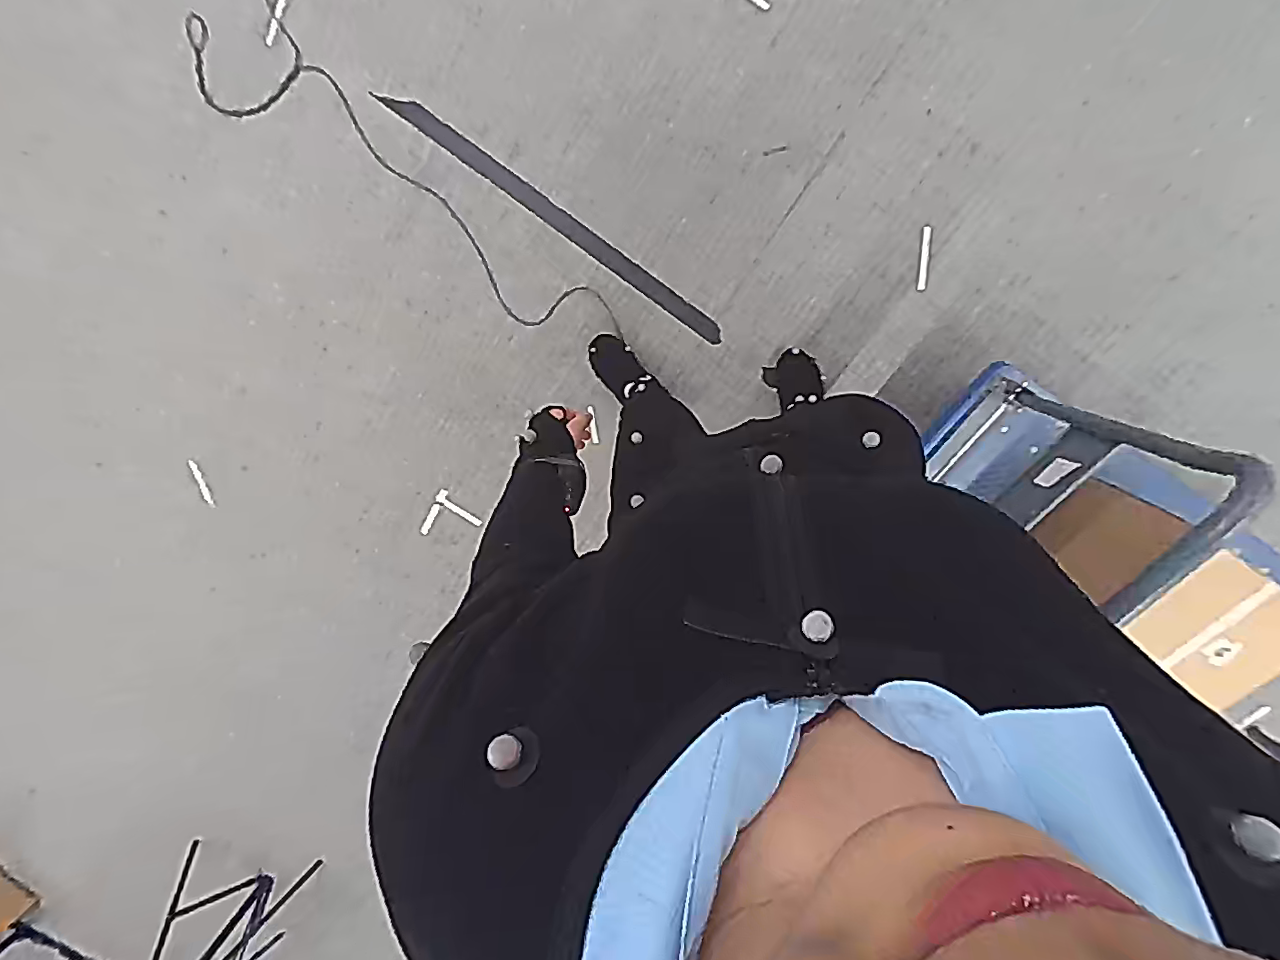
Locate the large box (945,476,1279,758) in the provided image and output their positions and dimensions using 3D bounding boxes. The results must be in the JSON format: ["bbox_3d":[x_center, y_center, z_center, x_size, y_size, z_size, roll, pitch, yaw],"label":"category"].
[{"bbox_3d":[0.947,0.265,1.124,0.320,0.320,0.408,35,109,-4],"label":"large box"}]
